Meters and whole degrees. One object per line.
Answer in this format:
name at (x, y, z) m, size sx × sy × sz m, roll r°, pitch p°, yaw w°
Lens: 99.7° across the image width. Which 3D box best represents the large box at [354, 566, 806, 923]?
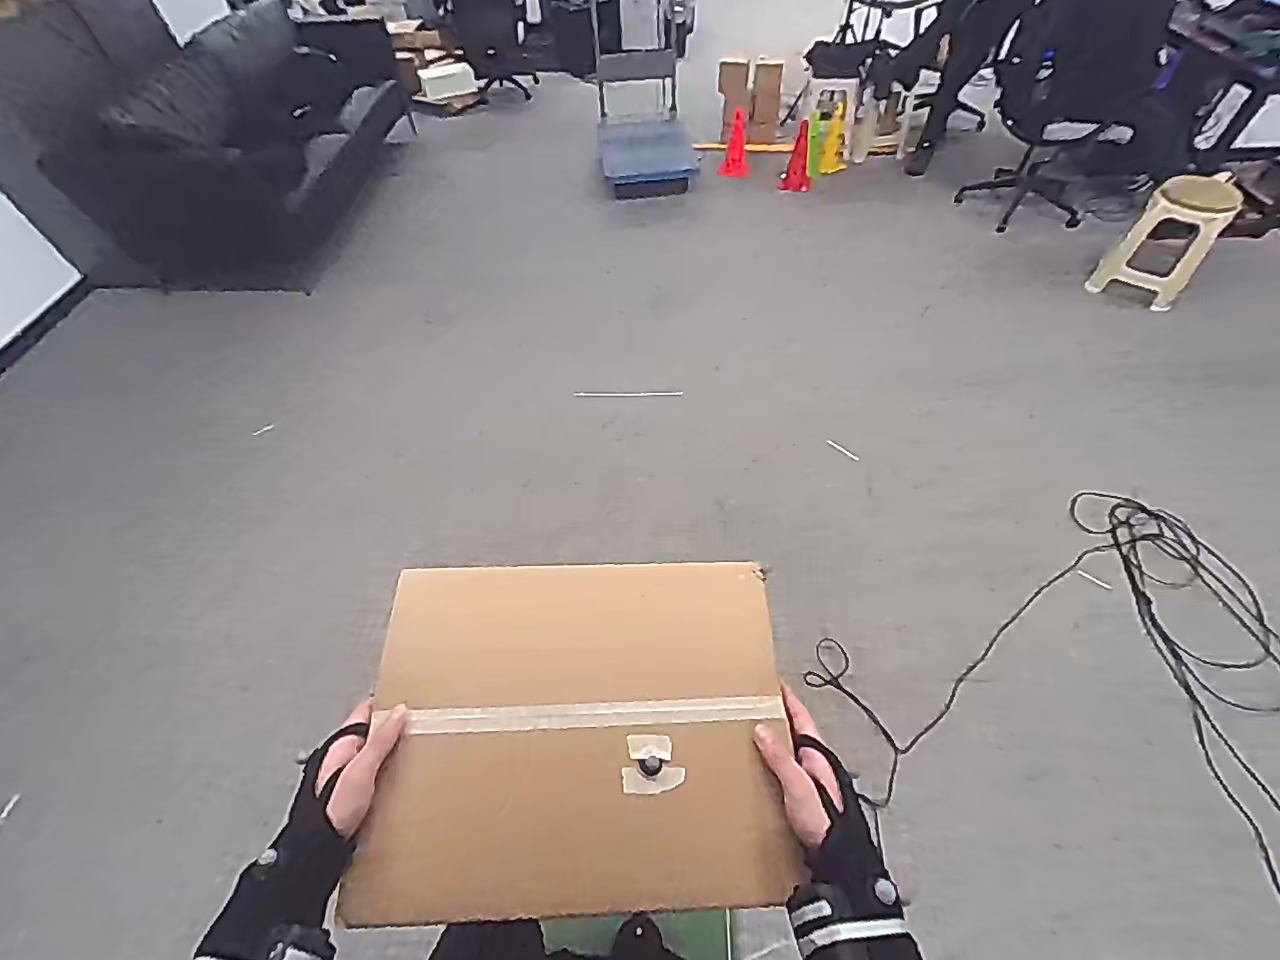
large box at (-0.063, 0.314, 0.672) m, size 0.408 × 0.320 × 0.320 m, roll -1°, pitch 60°, yaw -4°
